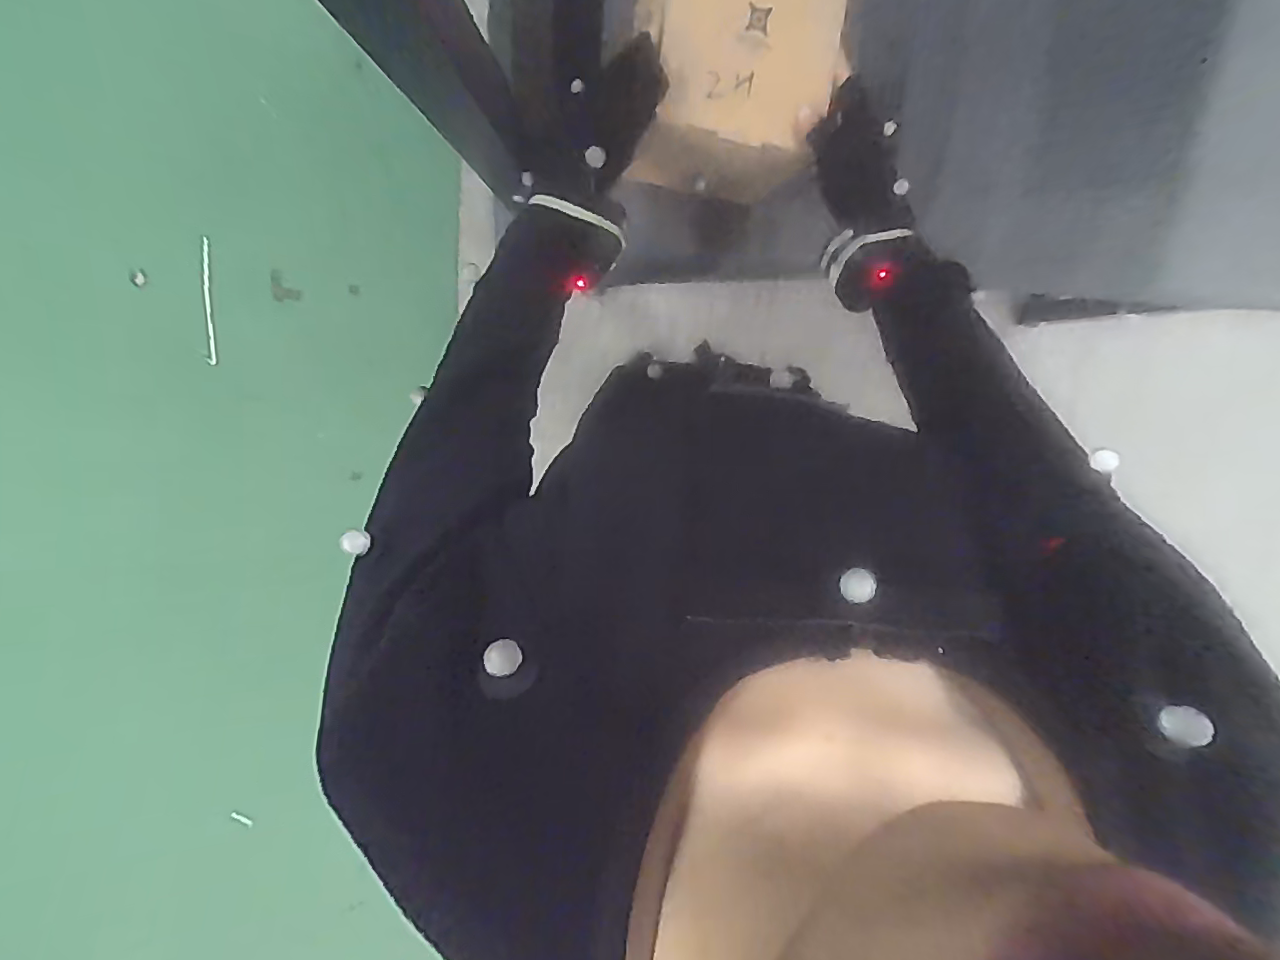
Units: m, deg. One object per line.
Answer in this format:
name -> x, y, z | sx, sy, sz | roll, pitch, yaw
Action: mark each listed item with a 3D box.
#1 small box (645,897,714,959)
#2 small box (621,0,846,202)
small box -> 0.121, 1.468, 1.700 | 0.179, 0.176, 0.168 | 19, 101, -2
small box -> 0.082, -0.413, 0.553 | 0.168, 0.176, 0.179 | 4, 102, -15
